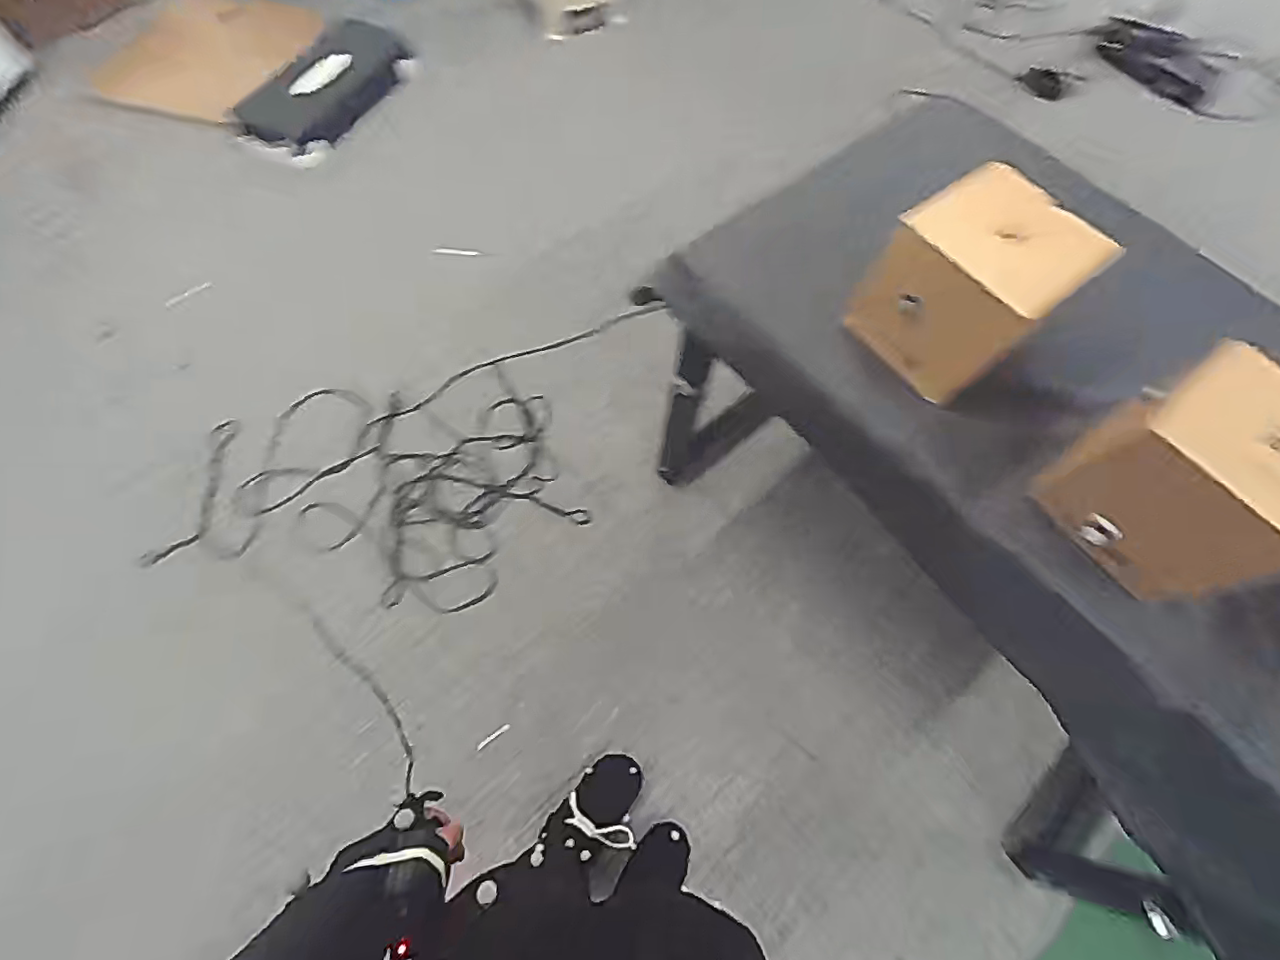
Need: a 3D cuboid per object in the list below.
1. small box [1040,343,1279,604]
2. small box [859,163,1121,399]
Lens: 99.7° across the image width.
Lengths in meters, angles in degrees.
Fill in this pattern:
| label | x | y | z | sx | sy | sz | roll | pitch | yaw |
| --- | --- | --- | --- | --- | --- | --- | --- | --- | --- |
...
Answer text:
| label | x | y | z | sx | sy | sz | roll | pitch | yaw |
| --- | --- | --- | --- | --- | --- | --- | --- | --- | --- |
| small box | 0.573 | 0.001 | 0.556 | 0.179 | 0.176 | 0.168 | -34 | 71 | -17 |
| small box | 0.394 | -0.229 | 0.647 | 0.179 | 0.176 | 0.168 | -33 | 72 | -18 |
